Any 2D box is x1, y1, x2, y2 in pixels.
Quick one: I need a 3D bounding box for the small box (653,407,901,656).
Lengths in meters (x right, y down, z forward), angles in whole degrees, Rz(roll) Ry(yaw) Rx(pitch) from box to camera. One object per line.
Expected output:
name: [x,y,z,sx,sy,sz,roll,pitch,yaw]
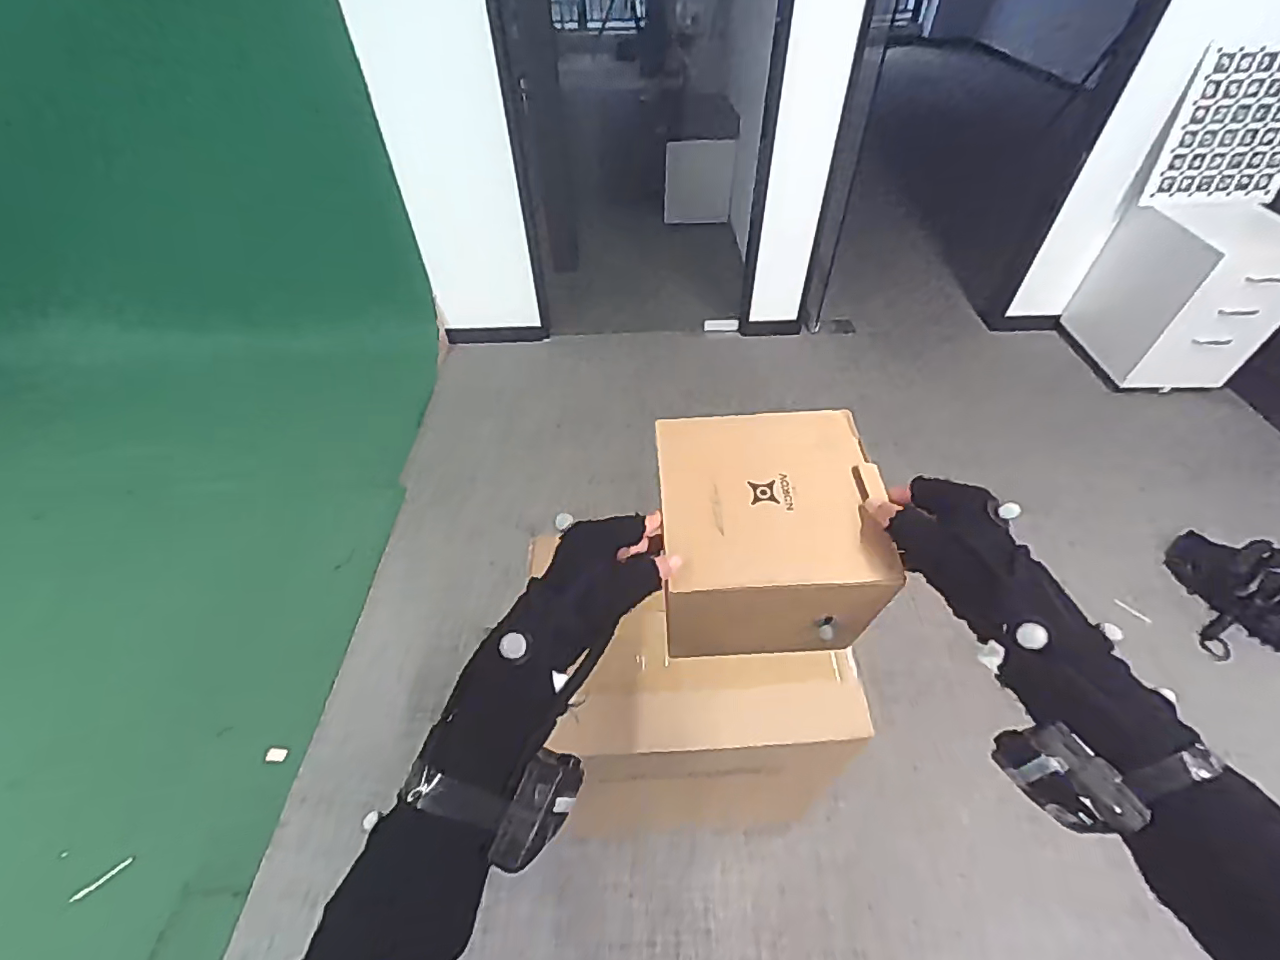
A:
small box: [0.106,0.055,0.505,0.179,0.176,0.168,-6,55,2]
